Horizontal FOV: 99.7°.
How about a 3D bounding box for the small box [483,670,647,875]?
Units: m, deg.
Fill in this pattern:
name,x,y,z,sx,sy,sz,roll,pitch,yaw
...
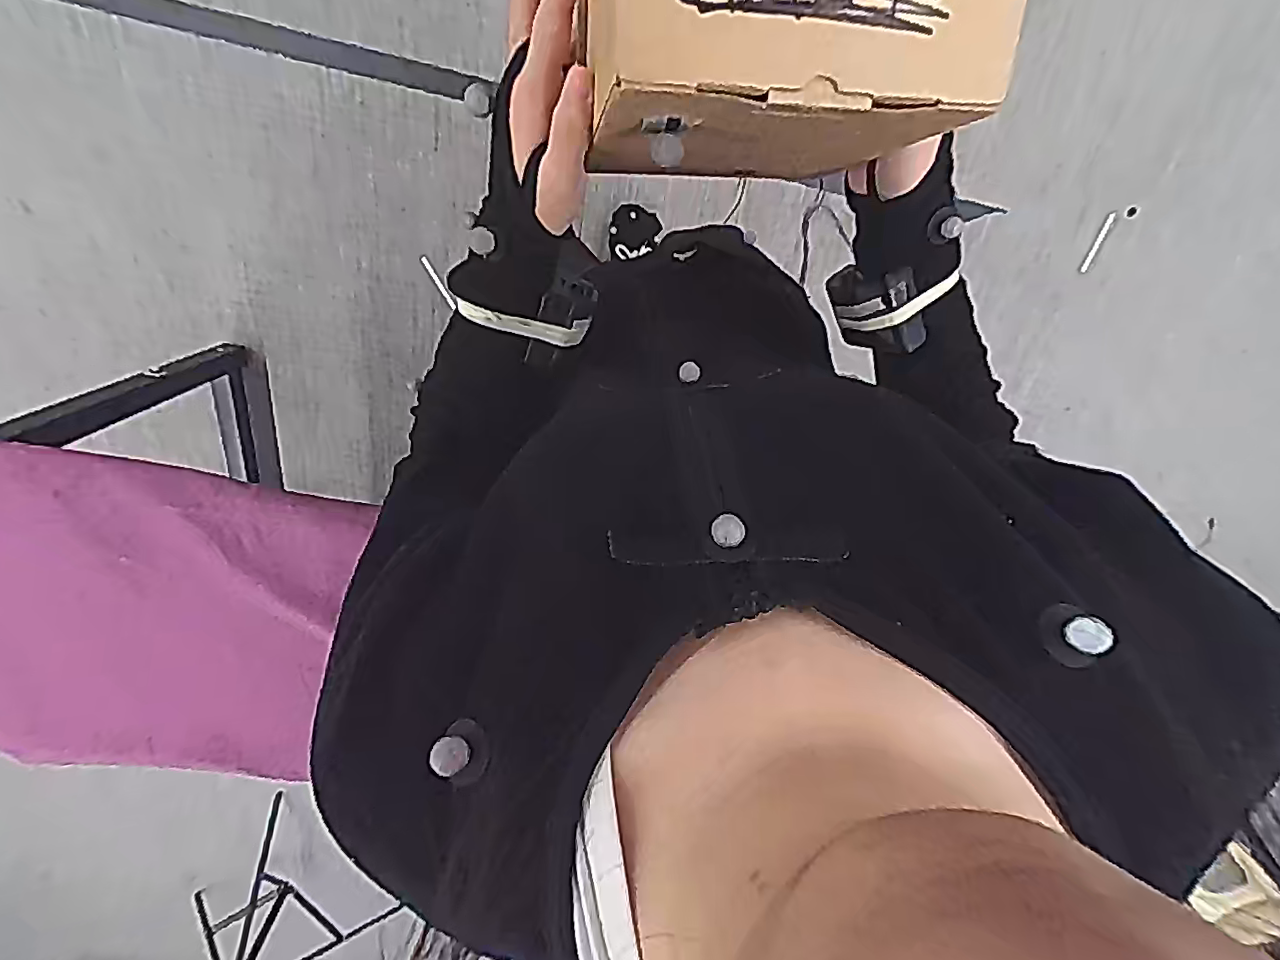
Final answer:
name,x,y,z,sx,sy,sz,roll,pitch,yaw
small box,-0.093,0.362,0.684,0.179,0.176,0.168,5,119,-6
